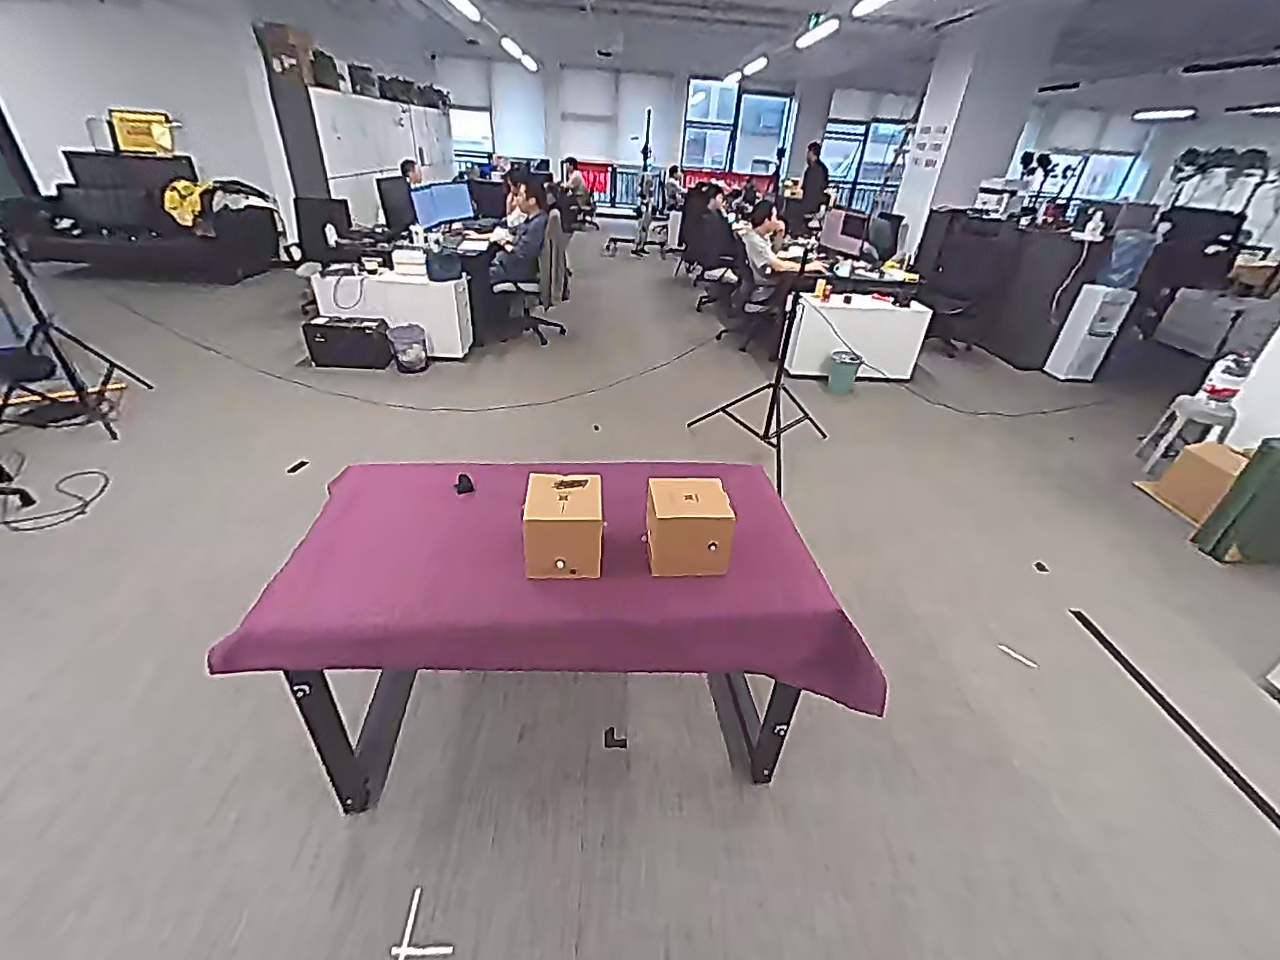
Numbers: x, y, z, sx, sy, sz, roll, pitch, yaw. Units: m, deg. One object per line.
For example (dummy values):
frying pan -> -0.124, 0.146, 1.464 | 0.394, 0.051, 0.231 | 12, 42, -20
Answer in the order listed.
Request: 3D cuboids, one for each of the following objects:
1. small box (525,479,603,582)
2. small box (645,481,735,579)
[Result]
small box -> -0.172, 0.114, 1.243 | 0.168, 0.176, 0.179 | 0, 32, -6
small box -> 0.111, 0.117, 1.273 | 0.179, 0.176, 0.168 | -2, 30, -7
